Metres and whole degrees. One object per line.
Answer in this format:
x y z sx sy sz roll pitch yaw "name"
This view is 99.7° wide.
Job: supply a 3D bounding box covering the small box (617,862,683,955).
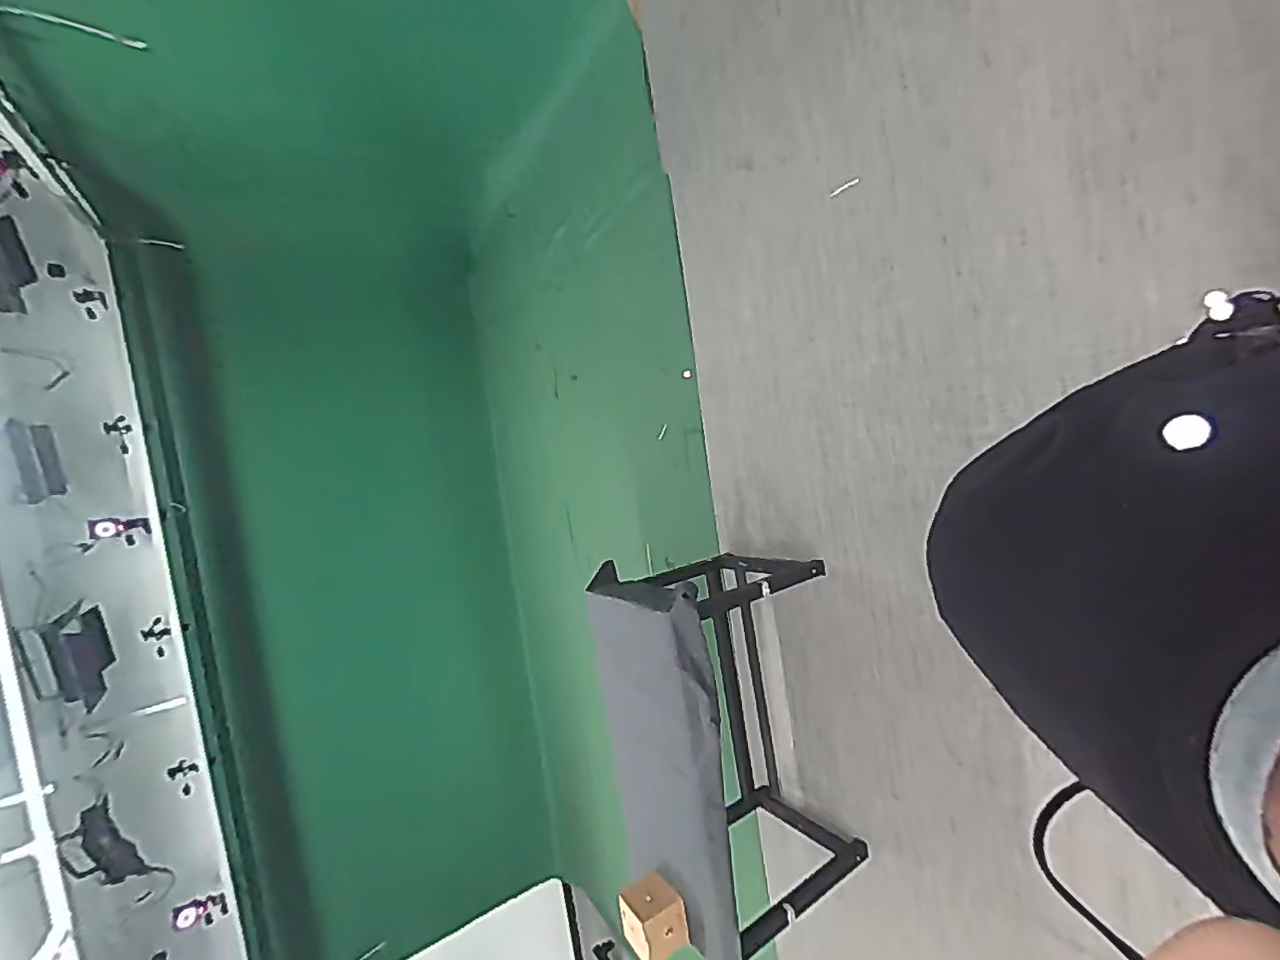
0.041 1.522 1.937 0.179 0.176 0.168 -6 93 57 "small box"
